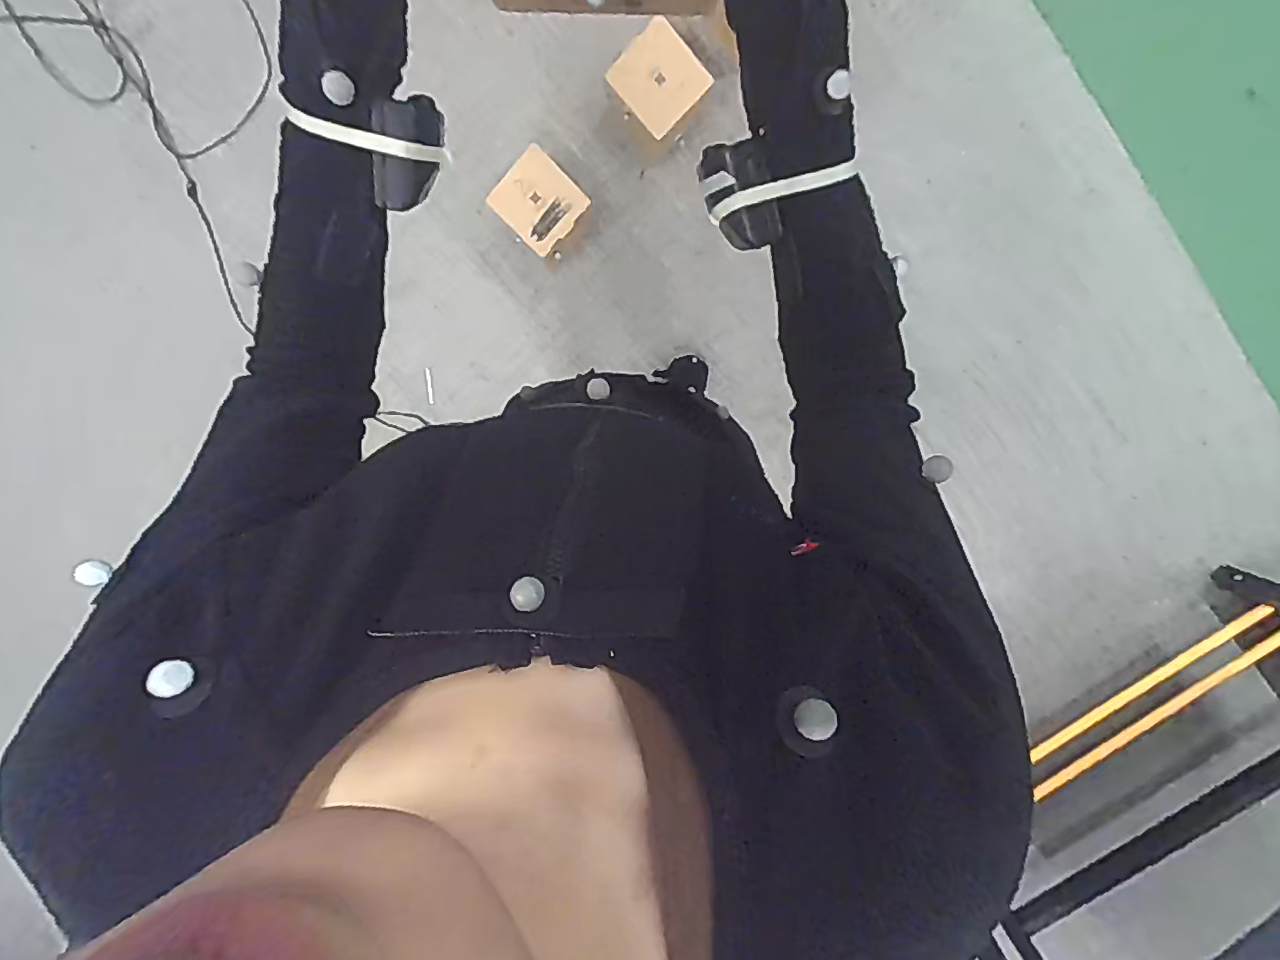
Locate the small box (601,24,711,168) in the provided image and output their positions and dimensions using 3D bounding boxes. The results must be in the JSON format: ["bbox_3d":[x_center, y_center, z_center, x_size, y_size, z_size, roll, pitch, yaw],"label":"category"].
[{"bbox_3d":[0.033,-0.848,1.218,0.168,0.176,0.179,-43,100,10],"label":"small box"}]

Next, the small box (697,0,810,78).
[{"bbox_3d":[0.240,-1.040,1.176,0.168,0.176,0.179,-34,101,7],"label":"small box"}]
